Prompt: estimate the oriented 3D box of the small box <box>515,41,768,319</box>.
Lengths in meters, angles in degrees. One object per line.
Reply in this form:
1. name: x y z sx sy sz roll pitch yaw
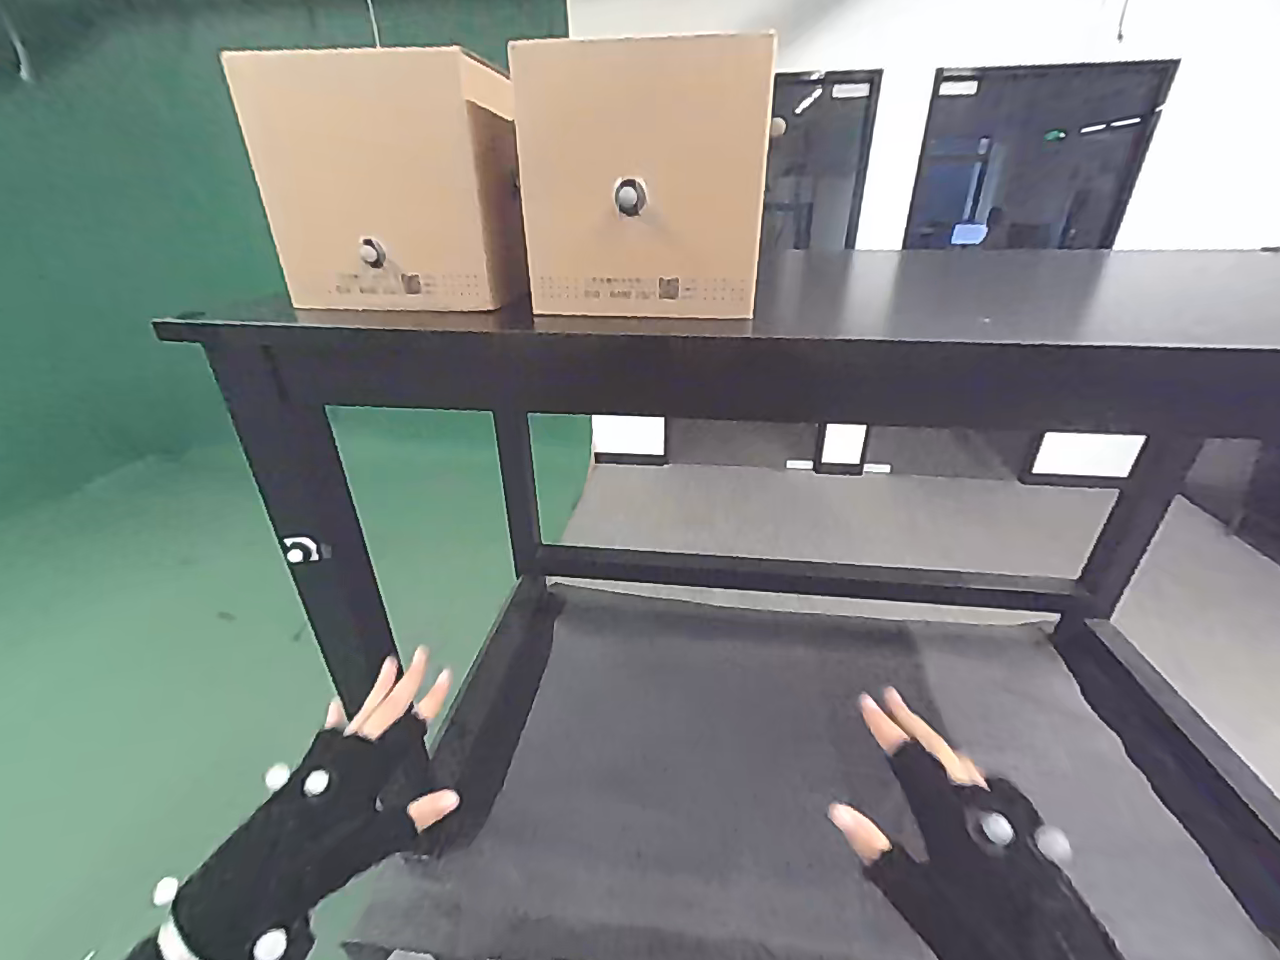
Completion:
1. small box: 0.013 -0.233 0.447 0.168 0.176 0.179 4 28 7
